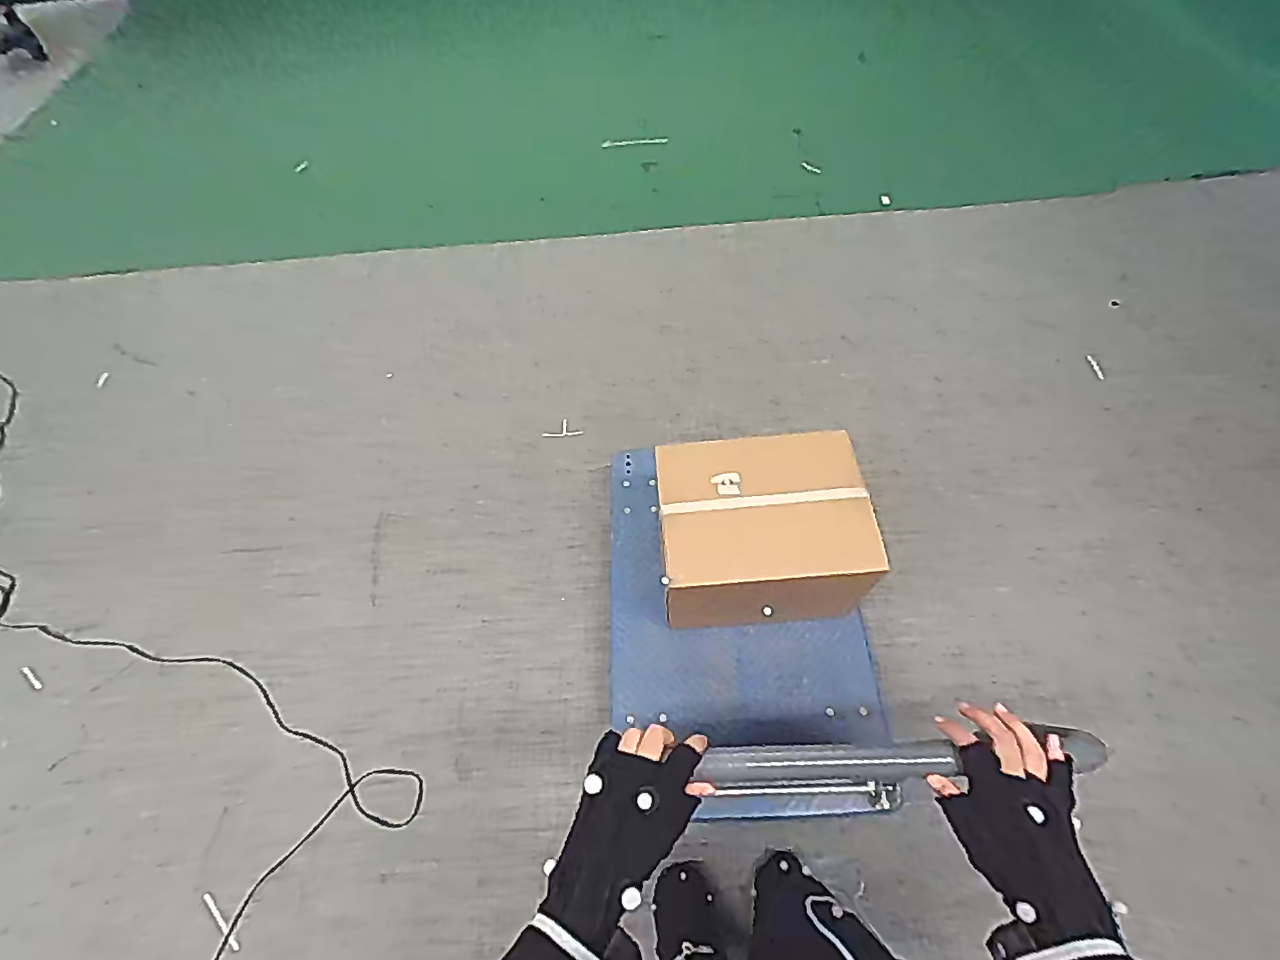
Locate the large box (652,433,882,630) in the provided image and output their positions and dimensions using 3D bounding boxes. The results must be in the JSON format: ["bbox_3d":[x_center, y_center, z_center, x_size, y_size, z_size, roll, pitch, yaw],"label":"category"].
[{"bbox_3d":[0.246,0.126,1.186,0.408,0.320,0.320,-6,59,2],"label":"large box"}]
